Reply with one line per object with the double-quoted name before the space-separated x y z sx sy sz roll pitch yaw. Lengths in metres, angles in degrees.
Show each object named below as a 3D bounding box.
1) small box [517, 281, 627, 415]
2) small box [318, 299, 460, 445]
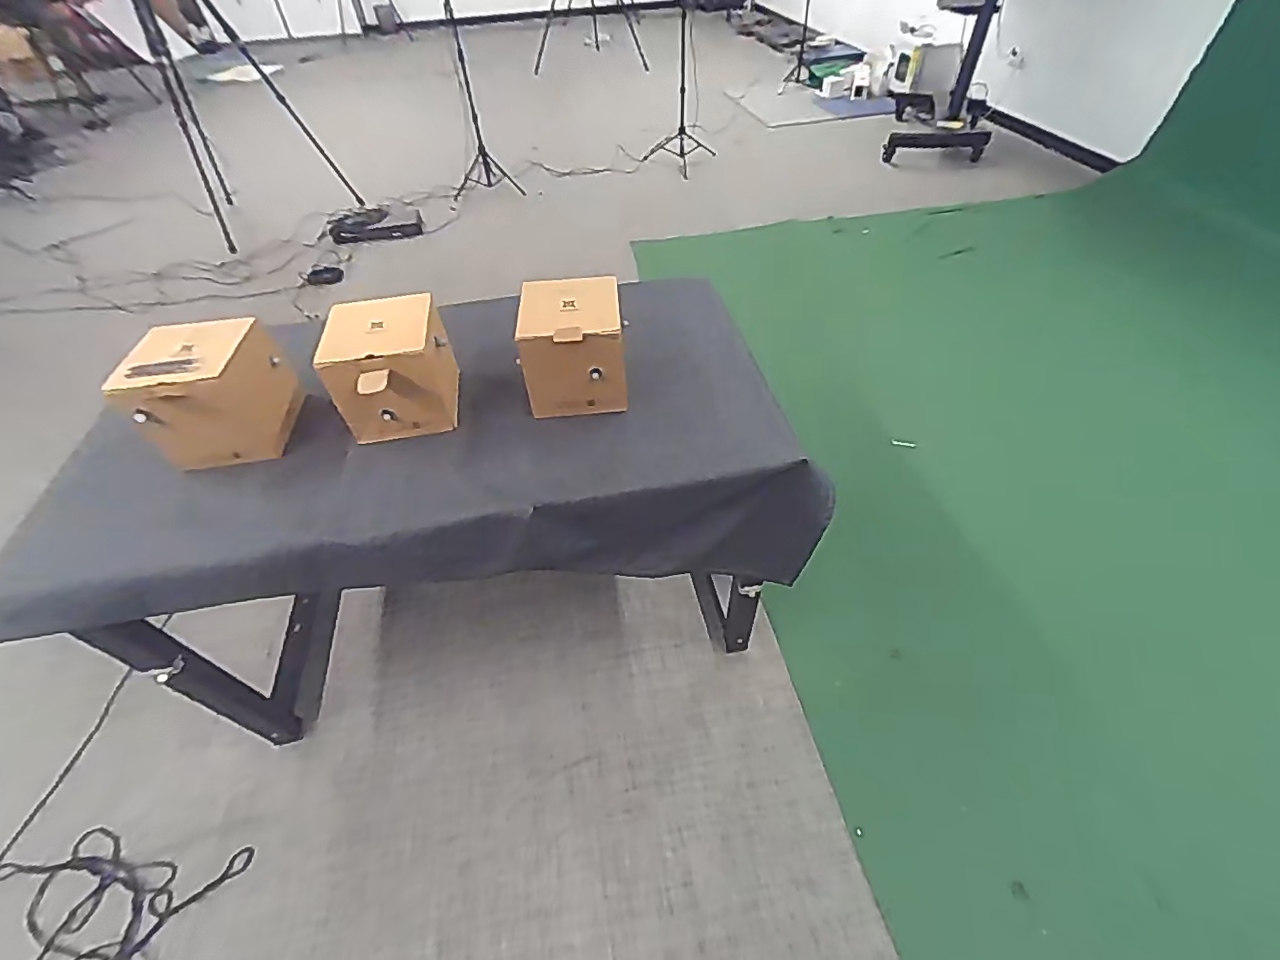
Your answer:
"small box" -0.111 -0.225 0.947 0.168 0.176 0.179 -4 47 -2
"small box" -0.415 -0.185 0.927 0.168 0.176 0.179 -10 49 -6
